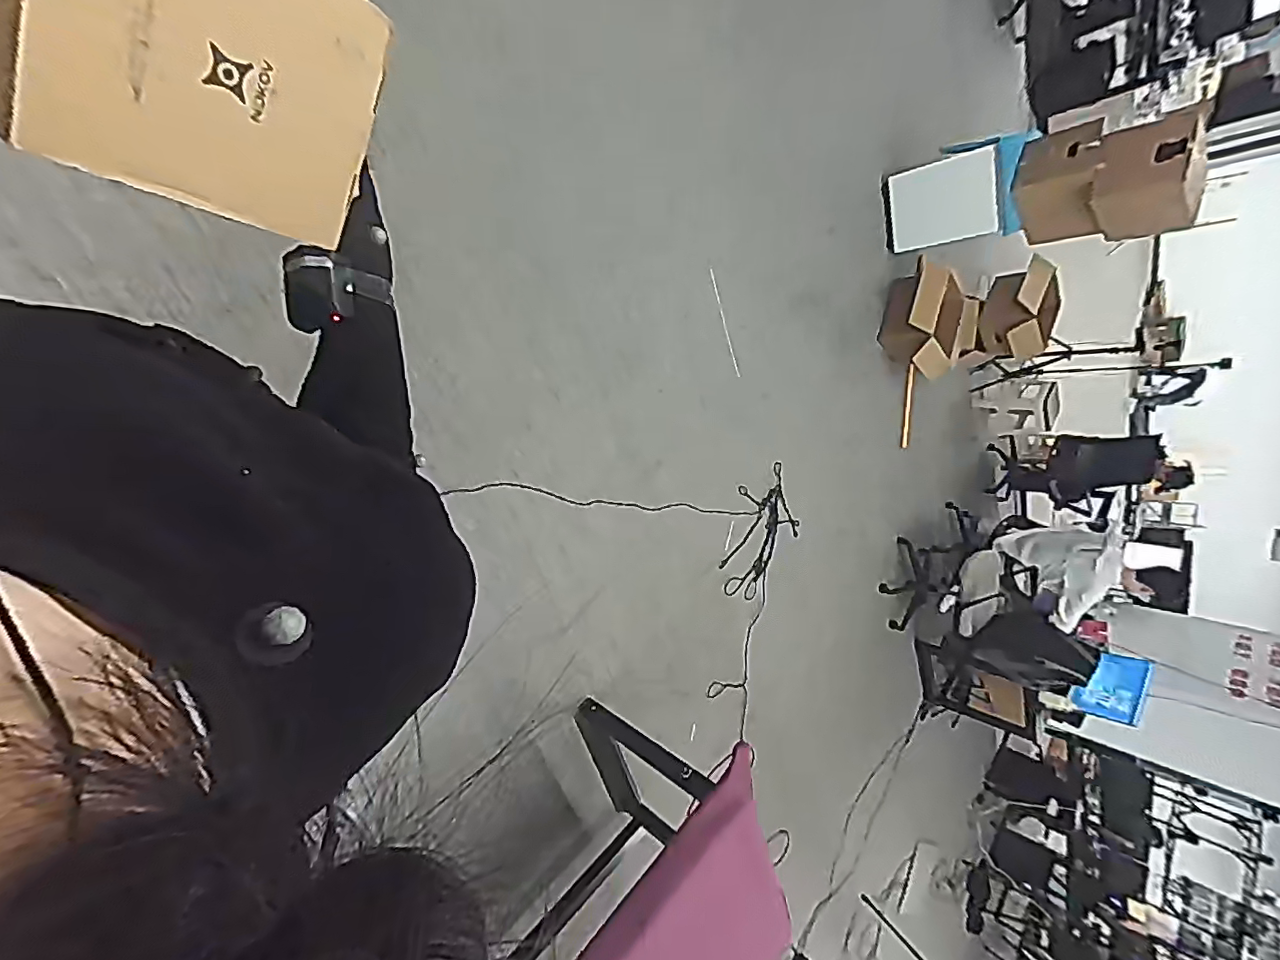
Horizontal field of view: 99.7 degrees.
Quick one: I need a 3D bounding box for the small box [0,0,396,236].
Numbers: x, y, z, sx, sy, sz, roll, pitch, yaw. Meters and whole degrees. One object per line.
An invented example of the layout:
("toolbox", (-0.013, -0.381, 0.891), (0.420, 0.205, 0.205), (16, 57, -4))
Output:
("small box", (-0.301, -0.291, 0.343), (0.179, 0.176, 0.168), (-5, 126, -61))
